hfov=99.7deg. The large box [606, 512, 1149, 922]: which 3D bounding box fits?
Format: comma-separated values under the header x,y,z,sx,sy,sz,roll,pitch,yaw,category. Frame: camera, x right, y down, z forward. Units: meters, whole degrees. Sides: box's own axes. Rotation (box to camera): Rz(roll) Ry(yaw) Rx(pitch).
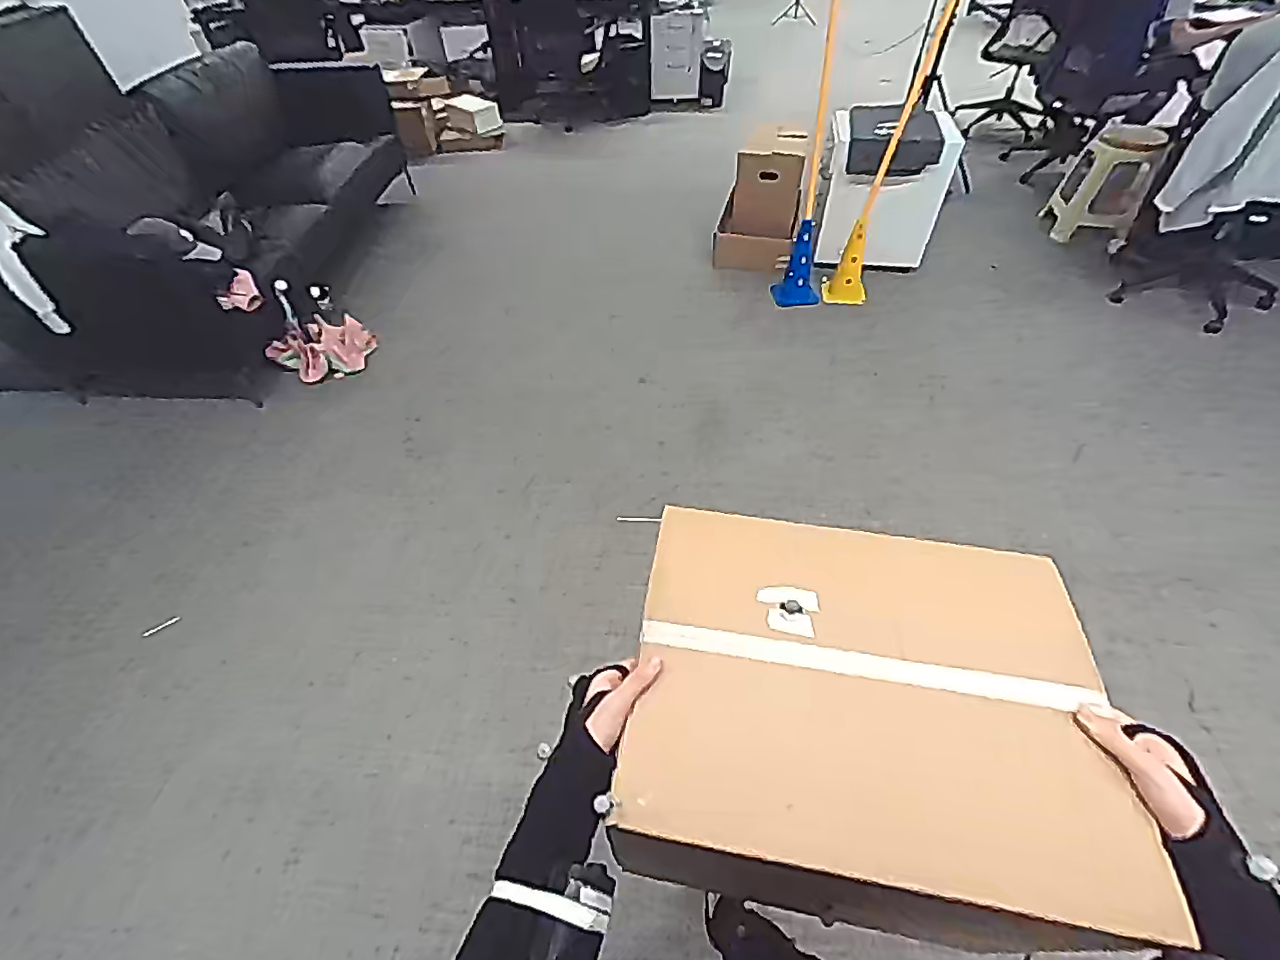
x,y,z,sx,sy,sz,roll,pitch,yaw,category
0.198,0.269,0.613,0.408,0.320,0.320,7,49,8,large box
